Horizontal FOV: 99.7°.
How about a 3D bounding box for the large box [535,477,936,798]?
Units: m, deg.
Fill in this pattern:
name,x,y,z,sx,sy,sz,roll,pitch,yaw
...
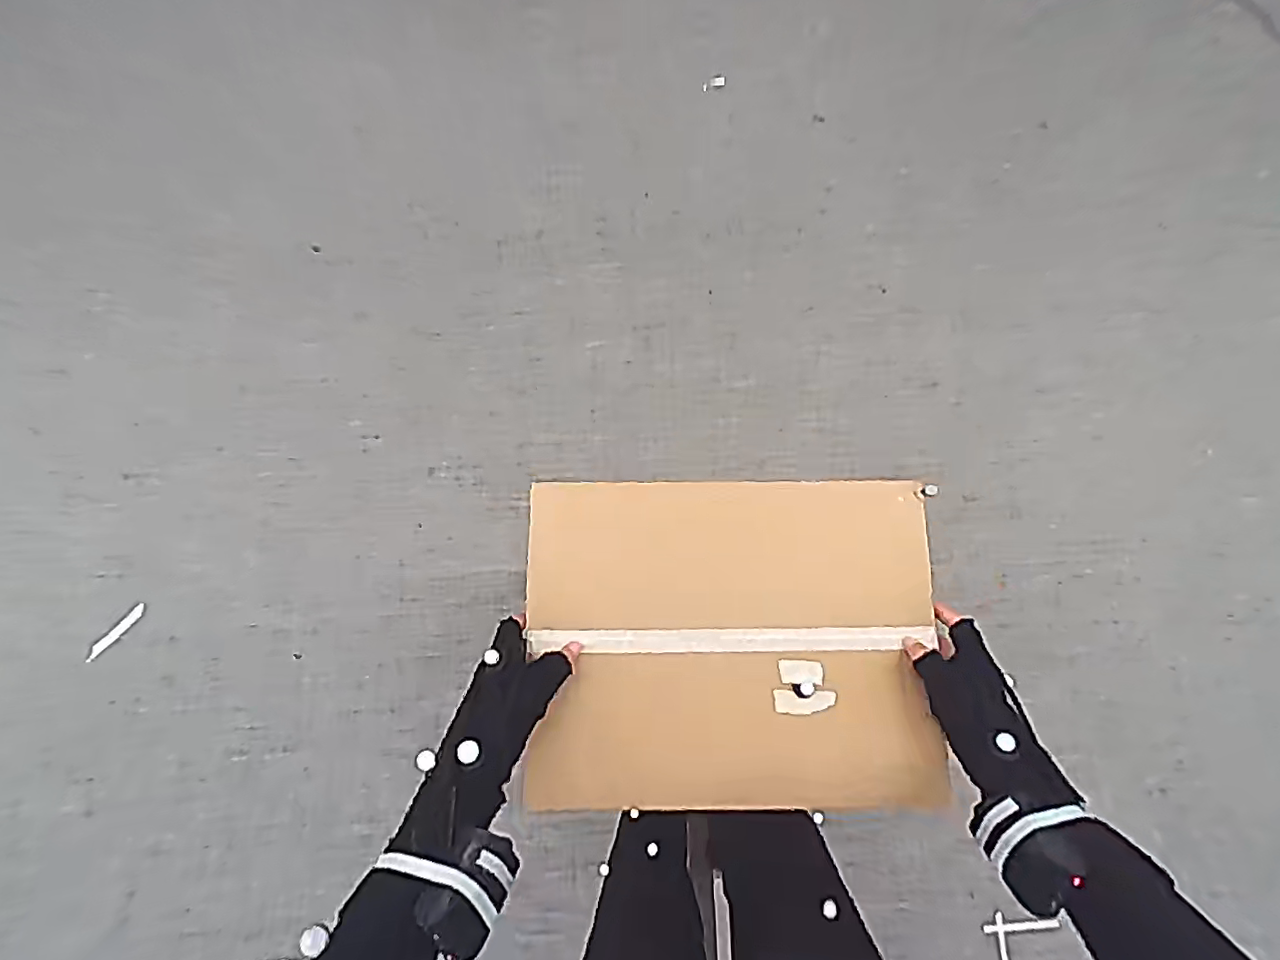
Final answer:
name,x,y,z,sx,sy,sz,roll,pitch,yaw
large box,0.089,0.178,0.701,0.408,0.320,0.320,-1,81,-1
